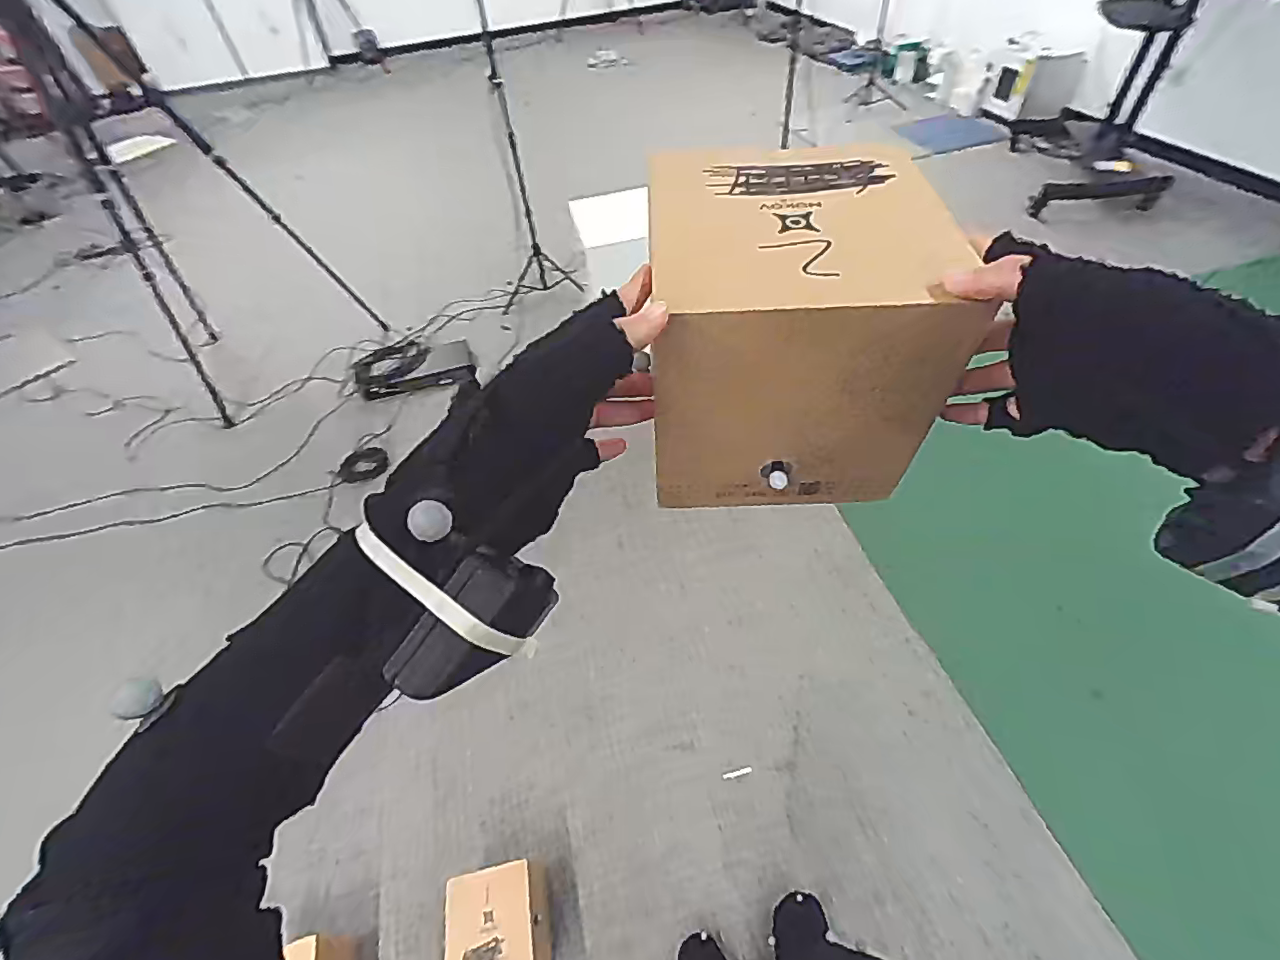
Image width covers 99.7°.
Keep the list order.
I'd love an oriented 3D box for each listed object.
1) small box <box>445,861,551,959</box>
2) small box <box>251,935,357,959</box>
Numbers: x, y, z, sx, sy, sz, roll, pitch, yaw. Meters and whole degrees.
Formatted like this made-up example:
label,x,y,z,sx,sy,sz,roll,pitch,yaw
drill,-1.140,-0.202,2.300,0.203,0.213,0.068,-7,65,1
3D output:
label,x,y,z,sx,sy,sz,roll,pitch,yaw
small box,-0.282,0.899,1.090,0.168,0.176,0.179,-12,49,-4
small box,-0.665,1.013,1.037,0.168,0.176,0.179,-16,50,-7
